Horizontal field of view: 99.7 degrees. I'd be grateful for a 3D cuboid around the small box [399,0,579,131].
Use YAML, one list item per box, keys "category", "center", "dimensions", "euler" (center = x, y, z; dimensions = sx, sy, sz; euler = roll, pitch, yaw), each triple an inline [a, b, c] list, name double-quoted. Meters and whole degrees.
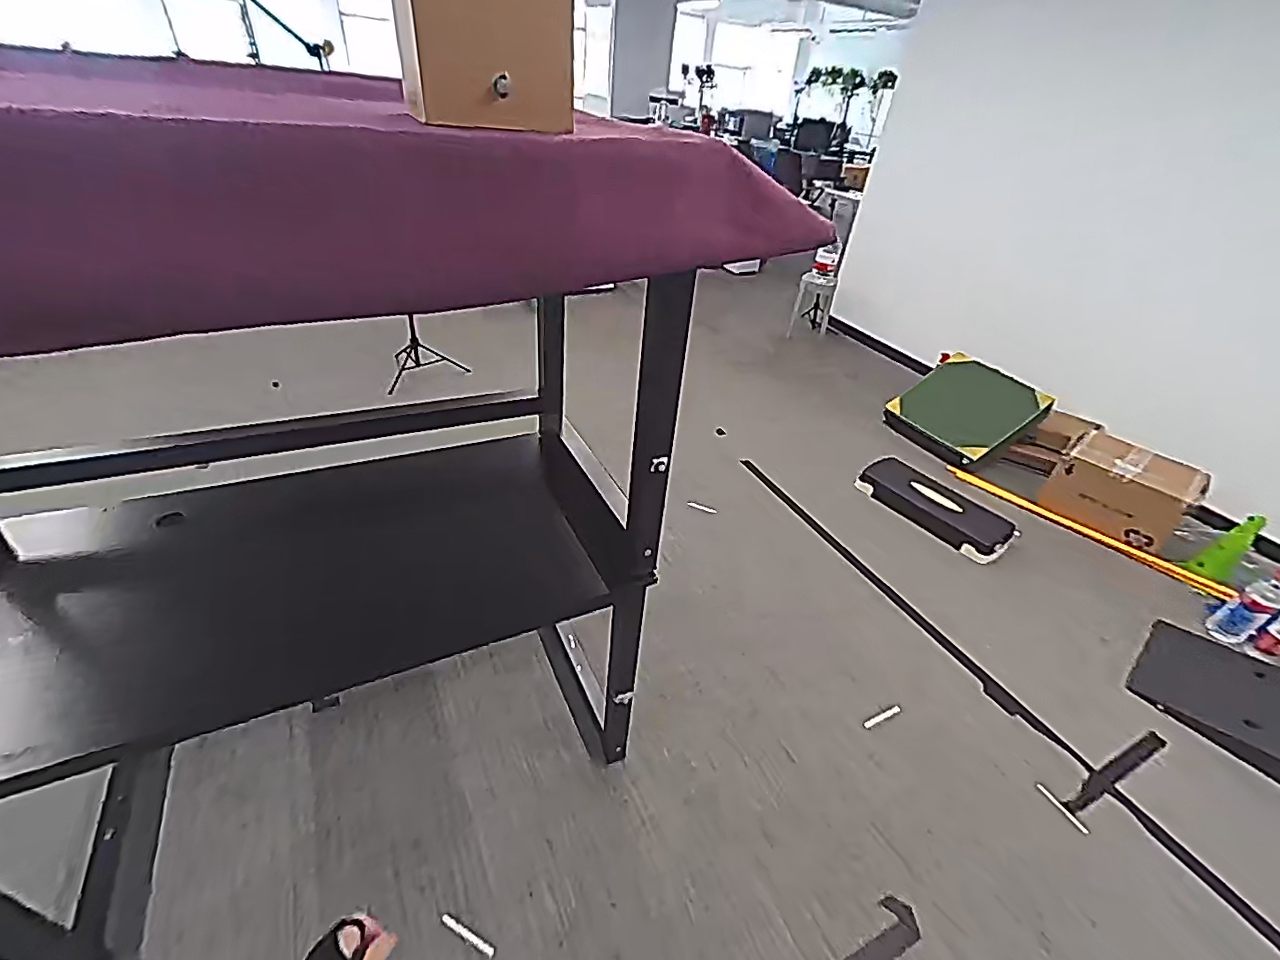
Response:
- category: "small box"
  center: [-0.180, -0.519, 0.636]
  dimensions: [0.179, 0.176, 0.168]
  euler: [-12, 39, -24]
